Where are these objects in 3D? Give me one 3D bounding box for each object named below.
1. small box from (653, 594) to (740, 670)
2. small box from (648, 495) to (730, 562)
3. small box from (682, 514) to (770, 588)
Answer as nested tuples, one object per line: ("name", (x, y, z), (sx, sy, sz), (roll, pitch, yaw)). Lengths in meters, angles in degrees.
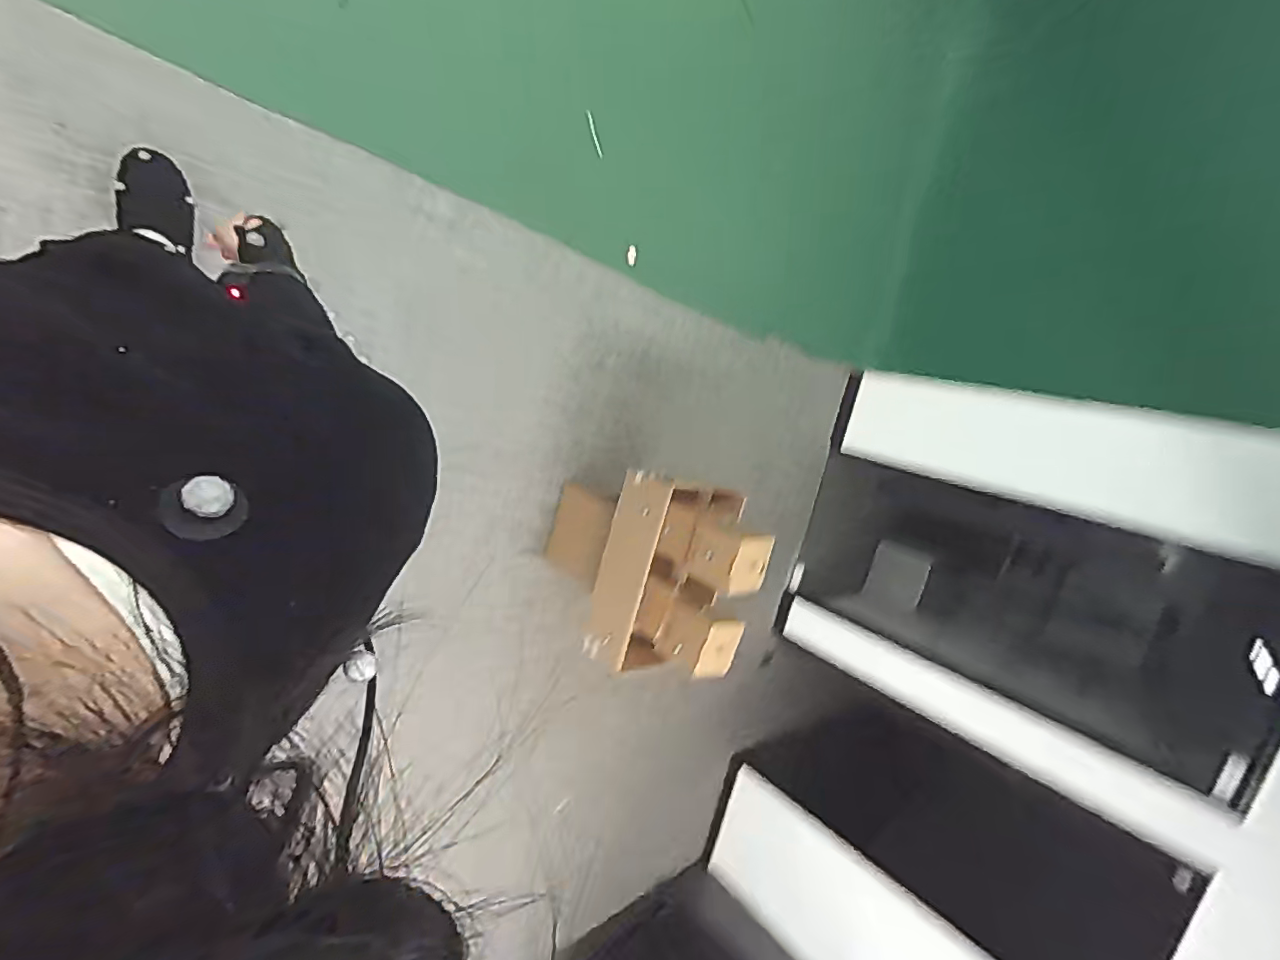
("small box", (0.167, 0.458, 1.646), (0.179, 0.176, 0.168), (15, 97, -47))
("small box", (0.155, 0.150, 1.736), (0.179, 0.176, 0.168), (2, 105, -45))
("small box", (0.253, 0.207, 1.616), (0.179, 0.176, 0.168), (3, 106, -45))
